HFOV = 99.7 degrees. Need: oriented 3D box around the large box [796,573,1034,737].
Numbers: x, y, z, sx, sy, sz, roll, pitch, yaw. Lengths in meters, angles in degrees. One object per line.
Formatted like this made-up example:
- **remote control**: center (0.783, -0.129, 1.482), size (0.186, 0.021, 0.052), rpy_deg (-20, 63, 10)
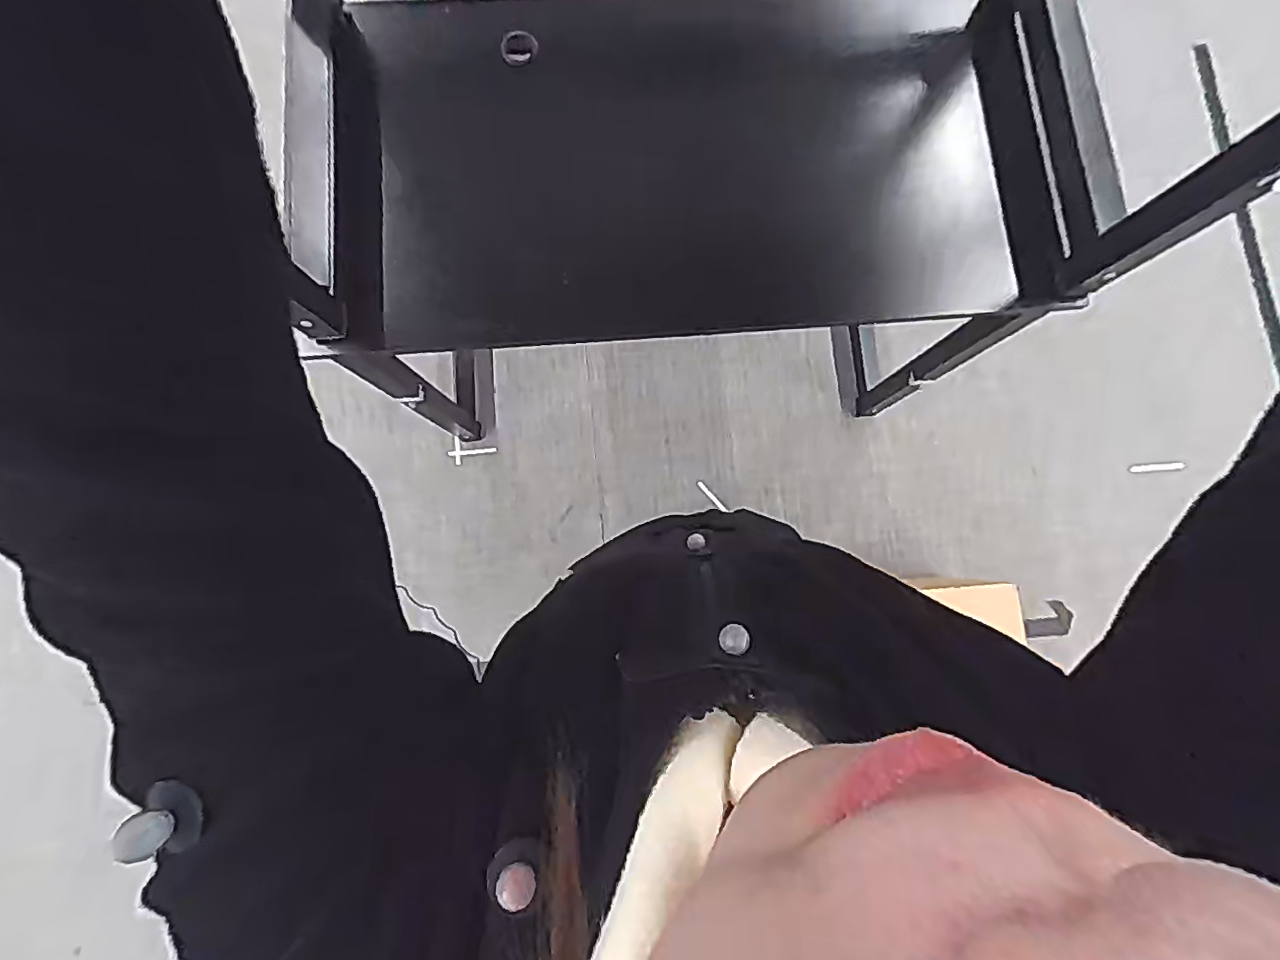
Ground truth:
- **large box**: center (0.641, 0.403, 1.329), size (0.408, 0.320, 0.320), rpy_deg (-4, 84, -2)
